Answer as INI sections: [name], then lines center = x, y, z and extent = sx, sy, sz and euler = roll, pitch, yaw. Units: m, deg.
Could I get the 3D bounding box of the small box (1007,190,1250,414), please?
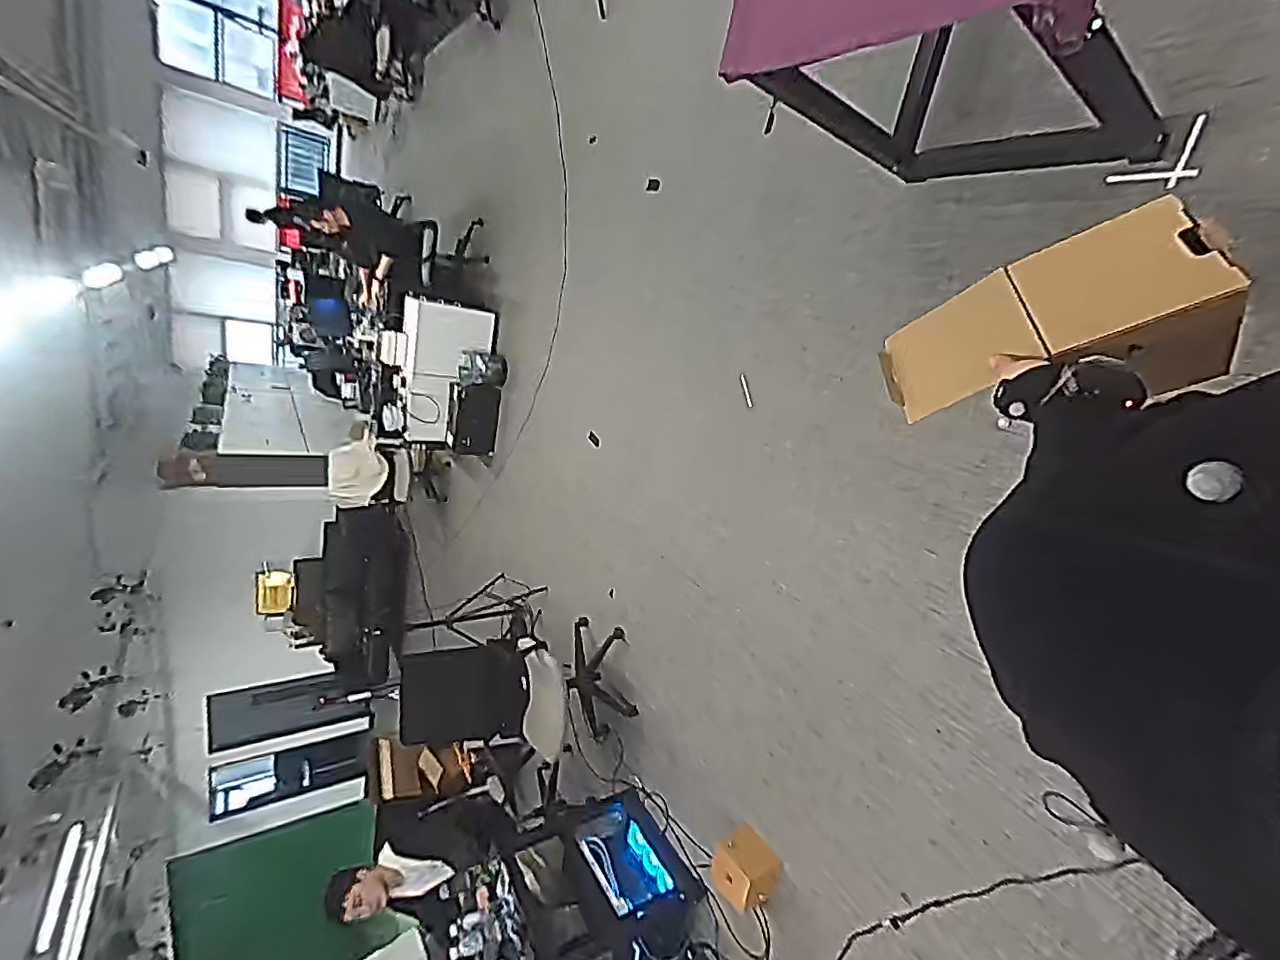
[small box]
center = 0.602, -0.209, 0.685
extent = 0.179, 0.176, 0.168
euler = -20, 53, 32
